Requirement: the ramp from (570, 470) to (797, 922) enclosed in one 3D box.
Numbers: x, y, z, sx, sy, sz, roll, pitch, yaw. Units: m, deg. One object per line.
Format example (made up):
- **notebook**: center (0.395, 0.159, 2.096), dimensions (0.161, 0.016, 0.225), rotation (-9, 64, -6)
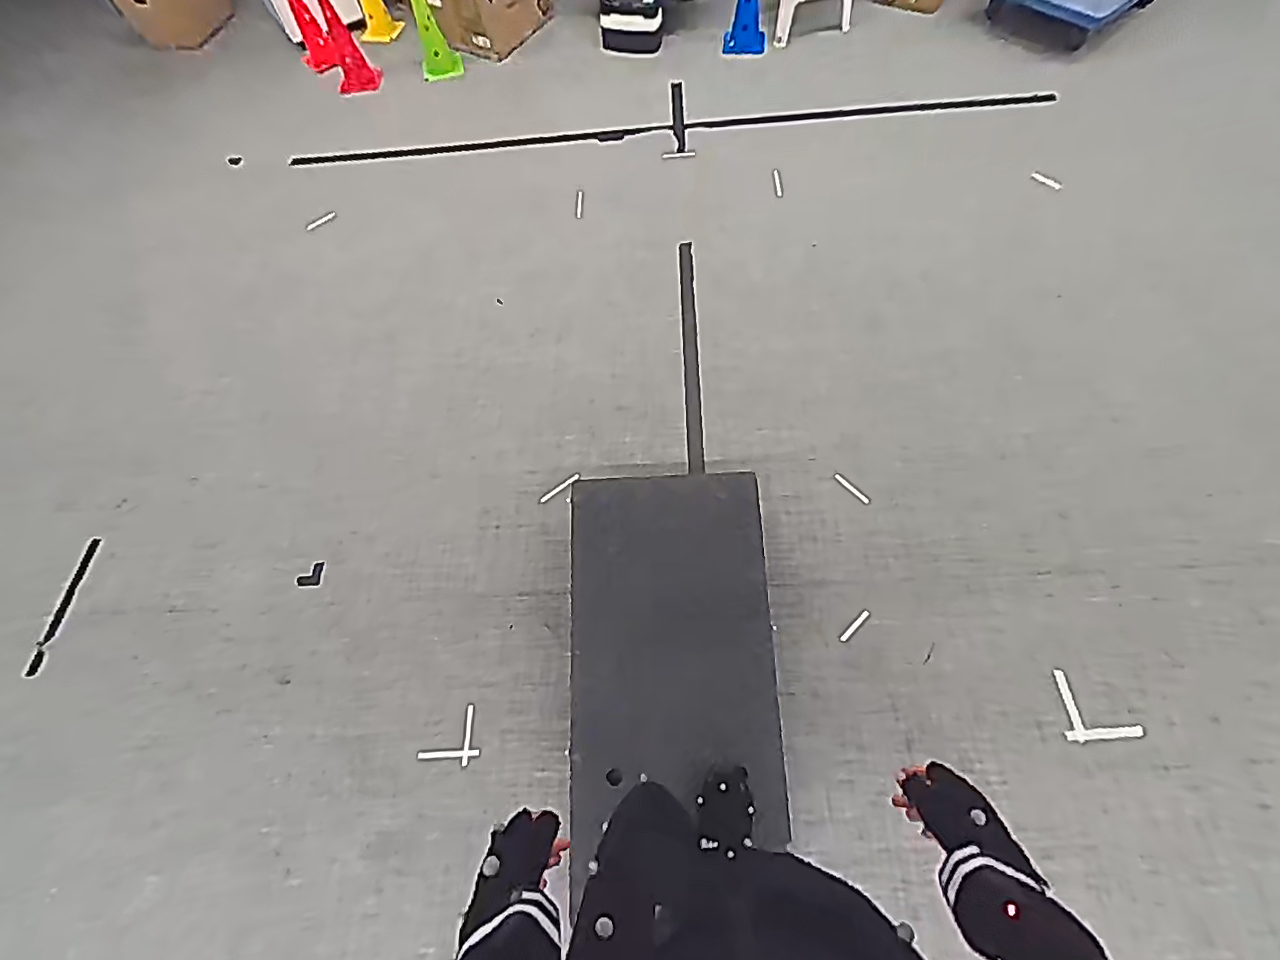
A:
- **ramp**: center (0.078, 0.465, 1.296), dimensions (0.509, 0.206, 0.991), rotation (-4, 64, 1)
